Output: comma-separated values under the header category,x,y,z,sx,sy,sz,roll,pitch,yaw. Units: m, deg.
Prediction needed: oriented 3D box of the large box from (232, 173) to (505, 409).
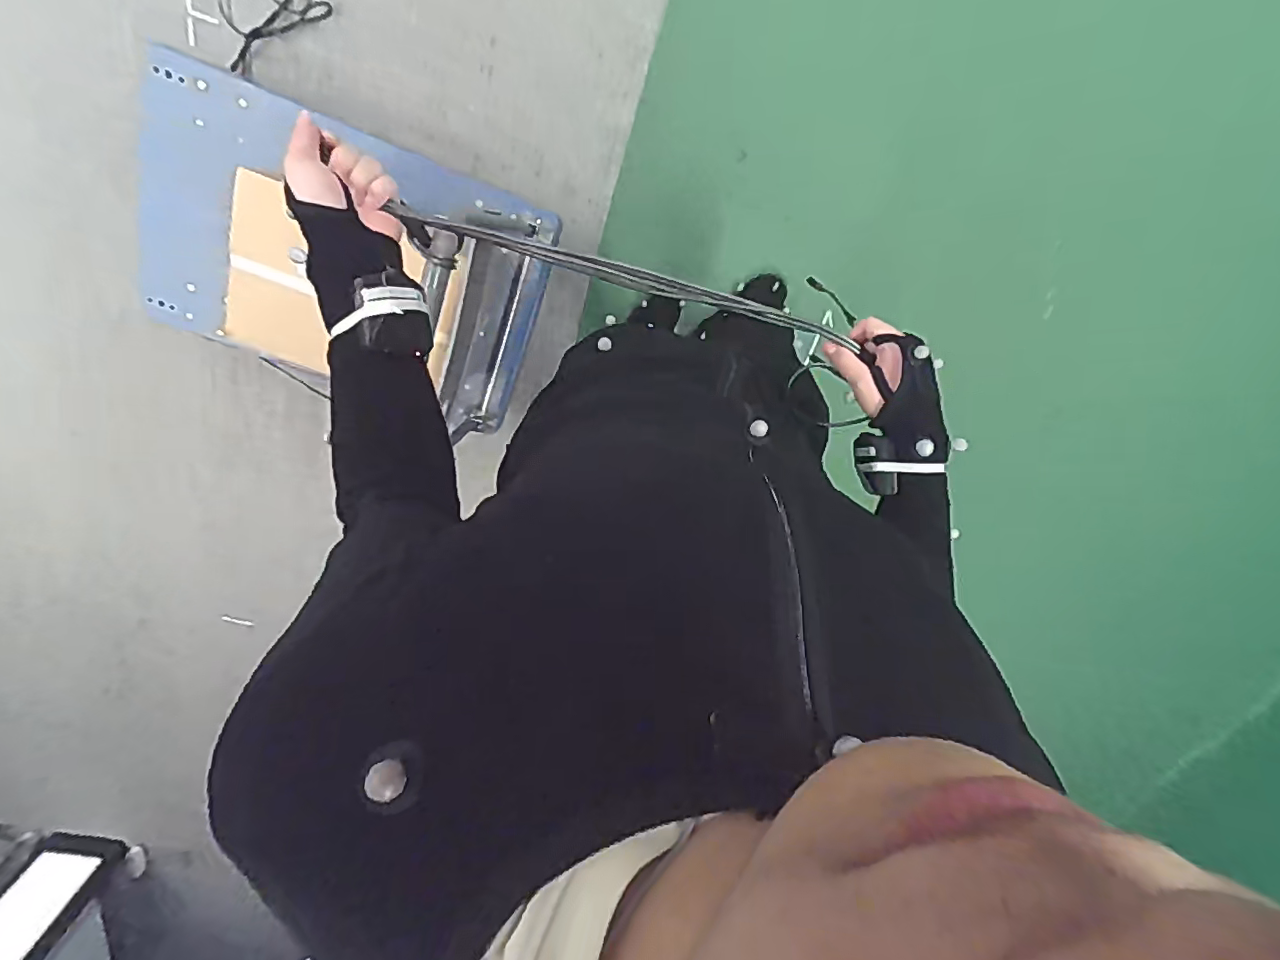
category,x,y,z,sx,sy,sz,roll,pitch,yaw
large box,-0.541,-0.394,1.137,0.408,0.320,0.320,19,112,-9
